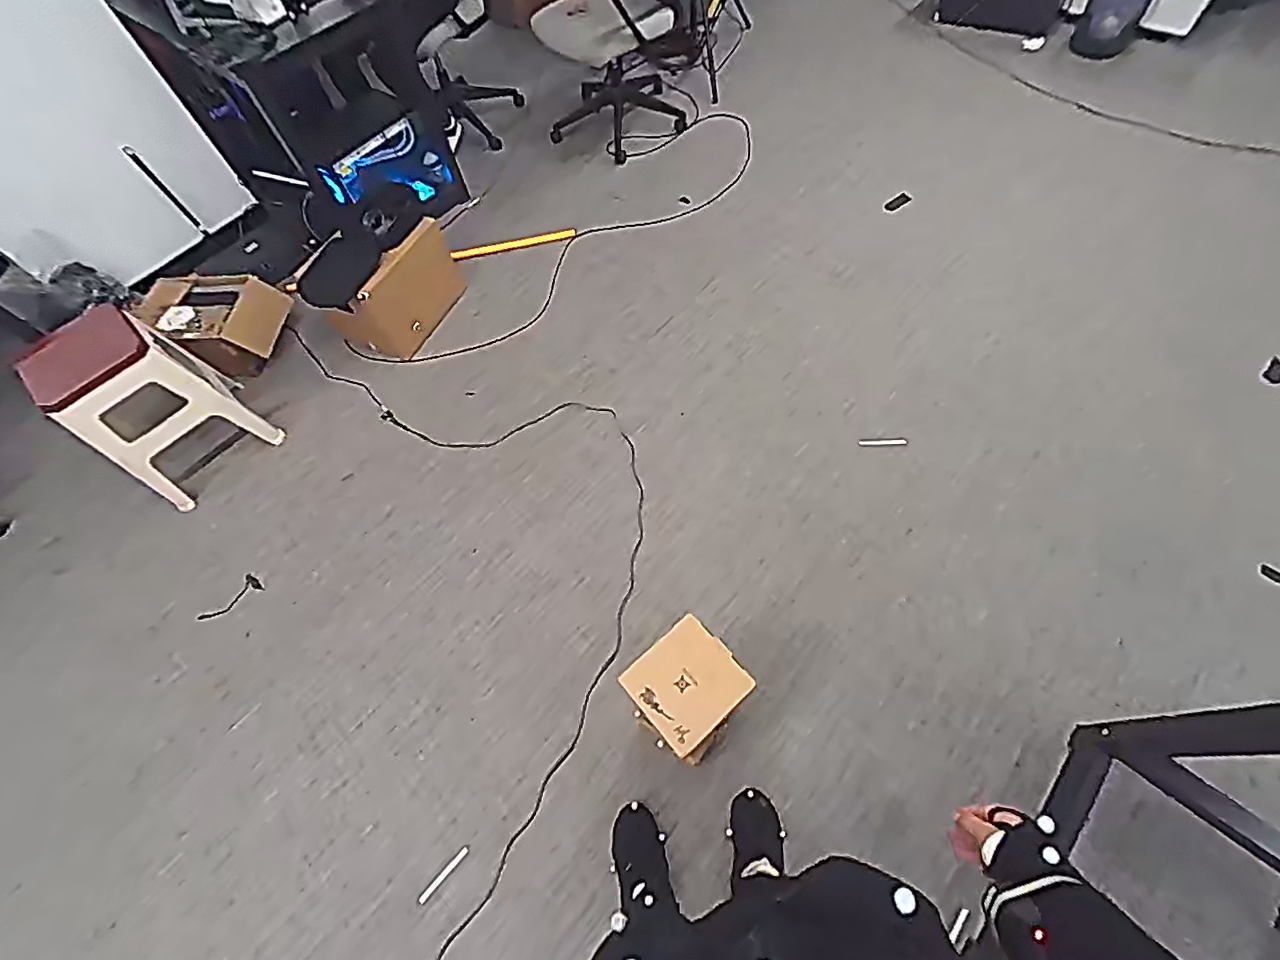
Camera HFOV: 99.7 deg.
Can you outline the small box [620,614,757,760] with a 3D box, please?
[{"bbox_3d":[0.084,0.378,0.980,0.179,0.176,0.168,-39,65,-16],"label":"small box"}]
